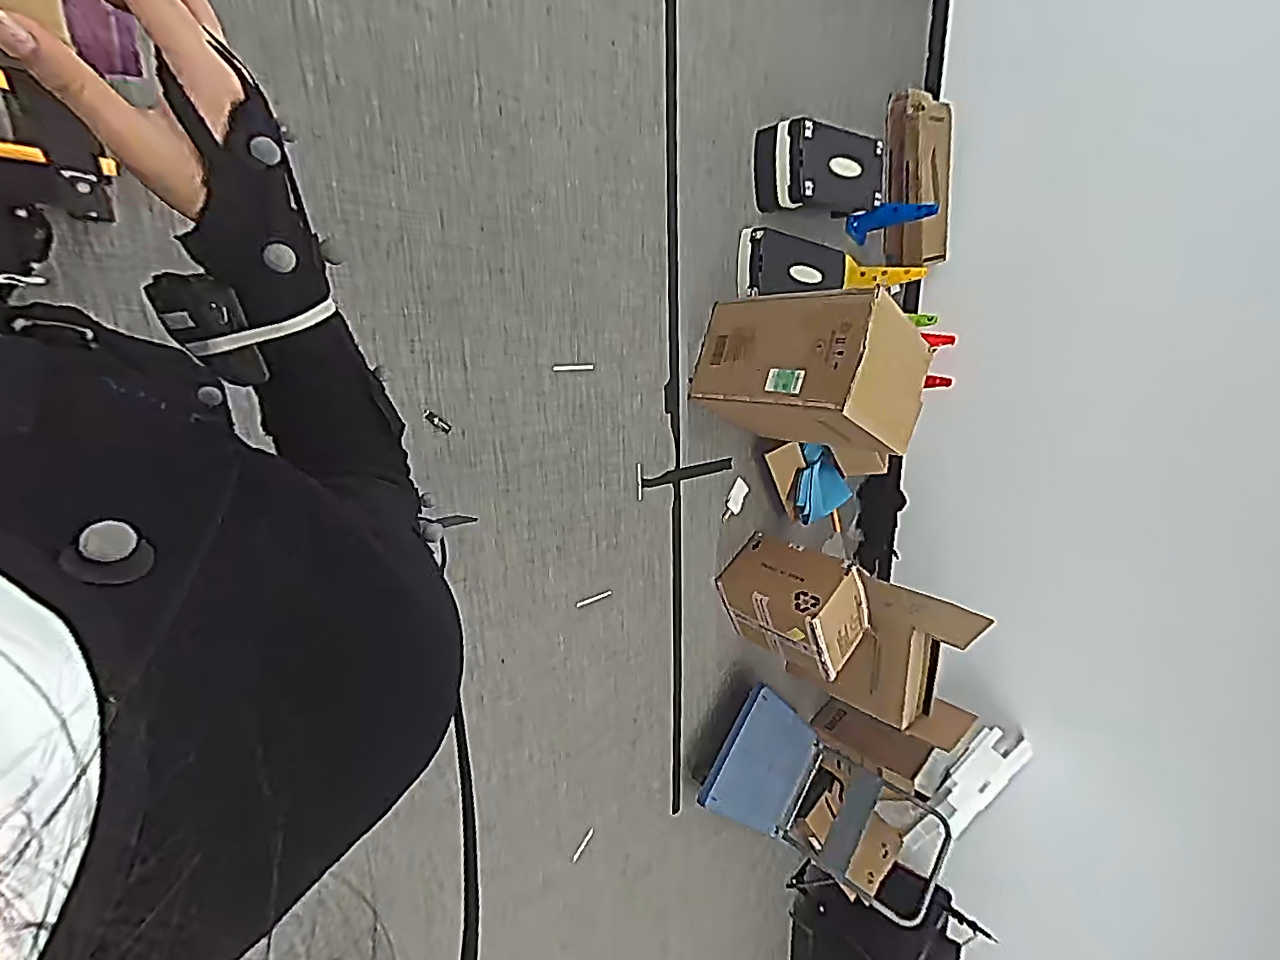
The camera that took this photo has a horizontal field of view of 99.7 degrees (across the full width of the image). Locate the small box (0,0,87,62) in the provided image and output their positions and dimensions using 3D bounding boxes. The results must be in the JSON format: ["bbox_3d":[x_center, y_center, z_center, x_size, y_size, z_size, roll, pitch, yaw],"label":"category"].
[{"bbox_3d":[-0.338,-0.269,0.185,0.179,0.176,0.168,-15,125,-43],"label":"small box"}]
